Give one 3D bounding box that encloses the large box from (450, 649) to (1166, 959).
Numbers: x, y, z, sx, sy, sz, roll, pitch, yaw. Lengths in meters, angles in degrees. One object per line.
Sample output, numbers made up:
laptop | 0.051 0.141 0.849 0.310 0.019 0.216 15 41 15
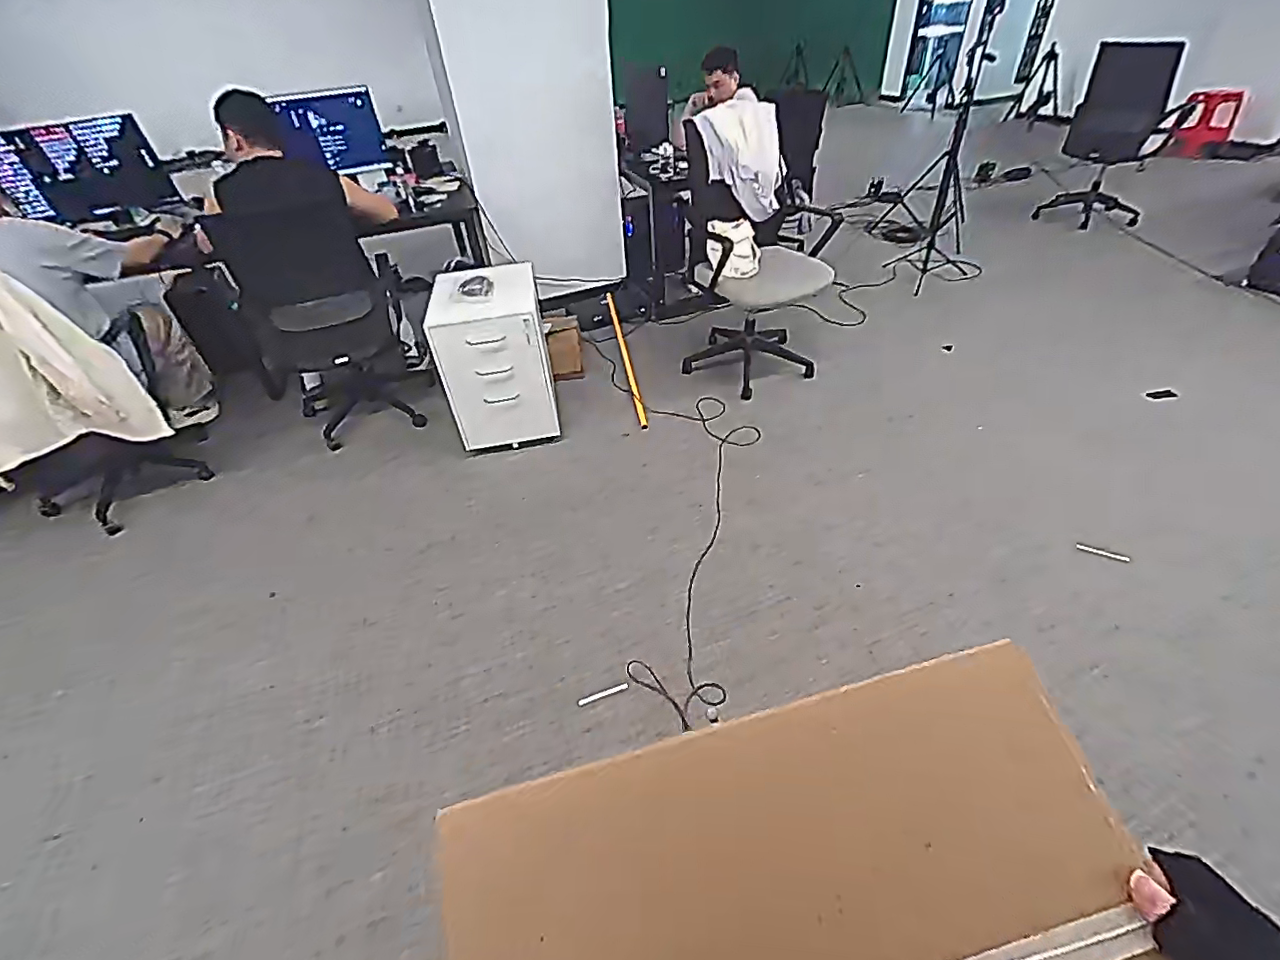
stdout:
large box | 0.115 0.366 0.443 0.408 0.320 0.320 -16 65 -3
